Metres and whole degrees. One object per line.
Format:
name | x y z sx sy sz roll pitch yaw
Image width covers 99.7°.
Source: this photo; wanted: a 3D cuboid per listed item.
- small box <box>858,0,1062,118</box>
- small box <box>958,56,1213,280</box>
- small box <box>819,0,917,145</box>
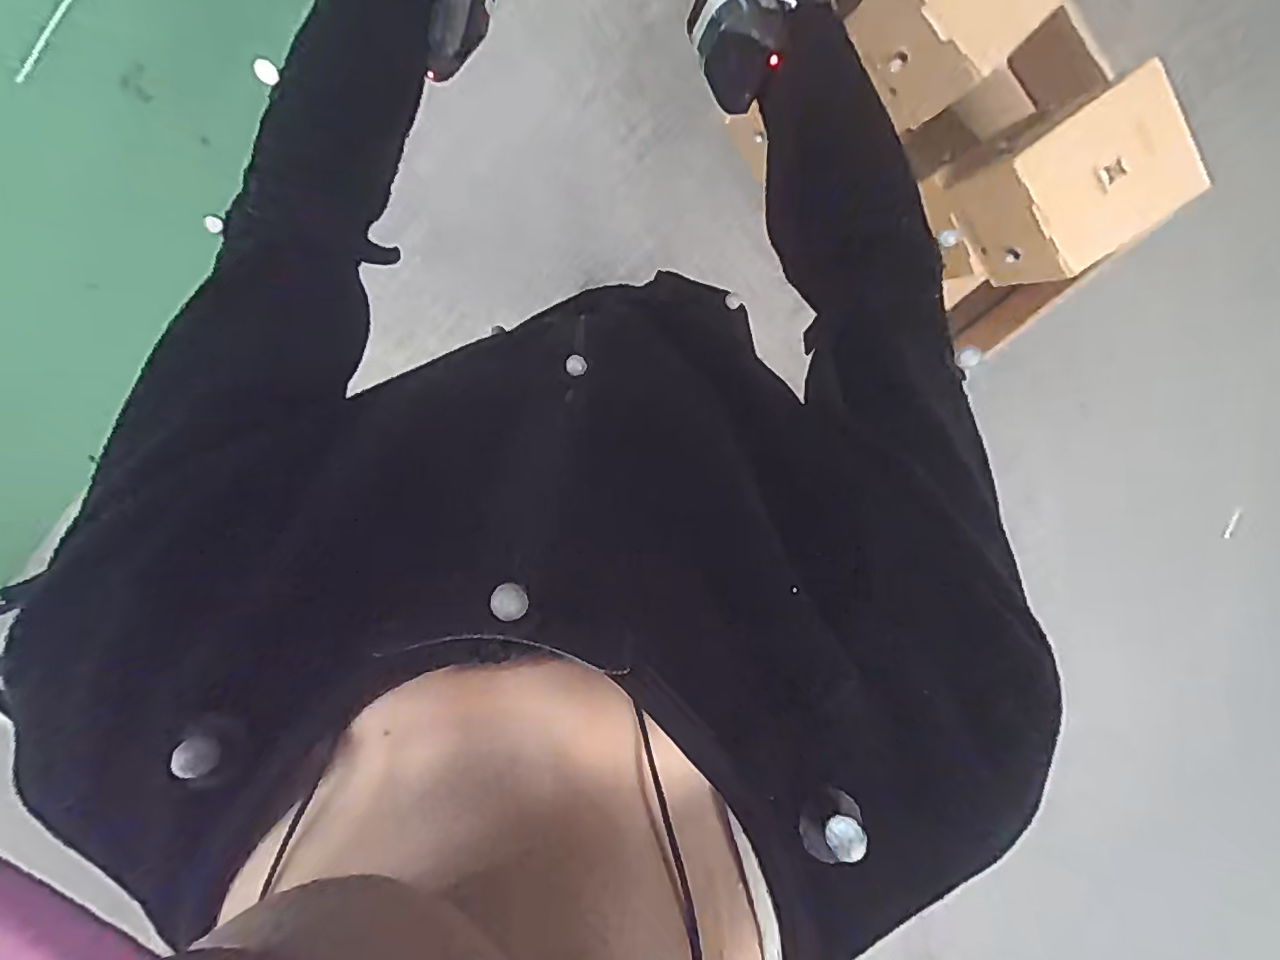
small box | 0.389 -0.584 0.647 0.179 0.176 0.168 -43 101 13
small box | 0.554 -0.381 0.705 0.179 0.176 0.168 -34 103 11
small box | 0.398 -0.647 0.799 0.179 0.176 0.168 -43 100 13
